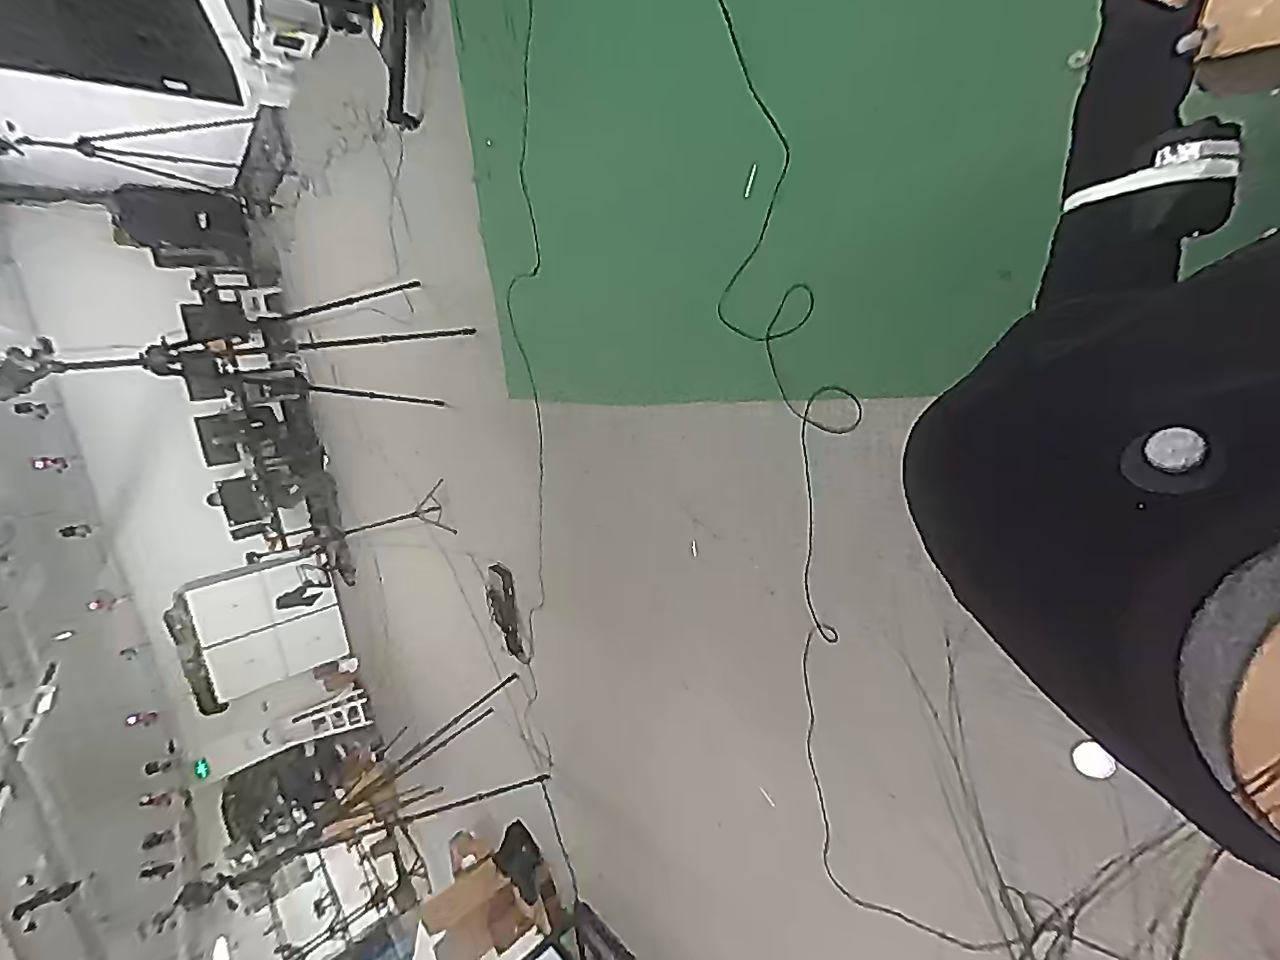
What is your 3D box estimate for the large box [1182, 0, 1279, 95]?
[{"bbox_3d":[0.598,-0.429,0.265,0.408,0.320,0.320,18,123,42],"label":"large box"}]
